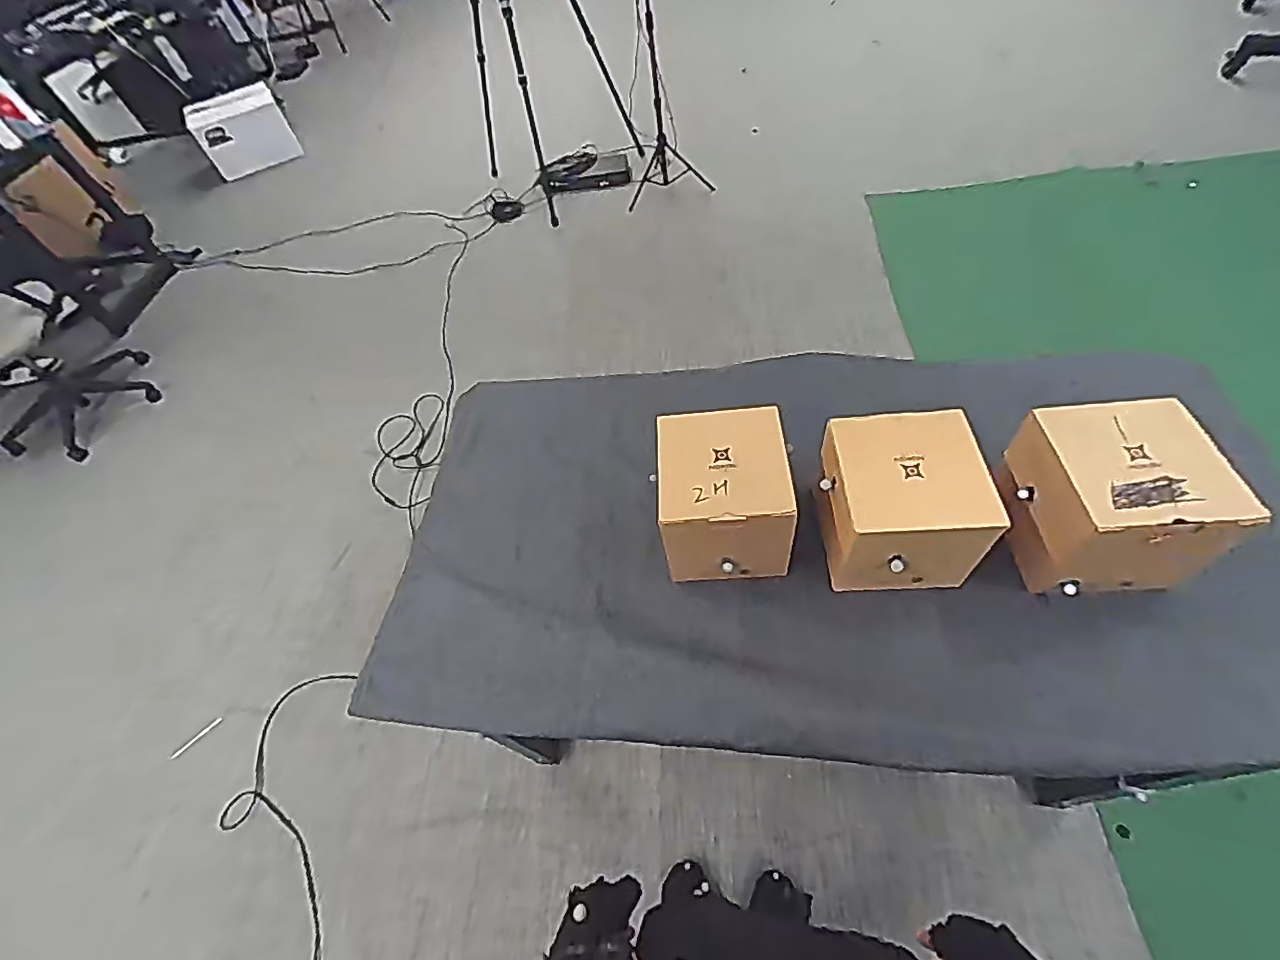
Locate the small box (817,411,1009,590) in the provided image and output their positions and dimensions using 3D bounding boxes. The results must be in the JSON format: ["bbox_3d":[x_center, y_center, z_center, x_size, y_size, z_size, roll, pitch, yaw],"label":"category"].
[{"bbox_3d":[0.335,0.035,0.706,0.168,0.176,0.179,-4,53,8],"label":"small box"}]

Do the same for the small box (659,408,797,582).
[{"bbox_3d":[0.115,0.024,0.750,0.168,0.176,0.179,-4,54,7],"label":"small box"}]

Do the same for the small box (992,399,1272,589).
[{"bbox_3d":[0.572,0.026,0.666,0.168,0.176,0.179,-4,53,7],"label":"small box"}]
